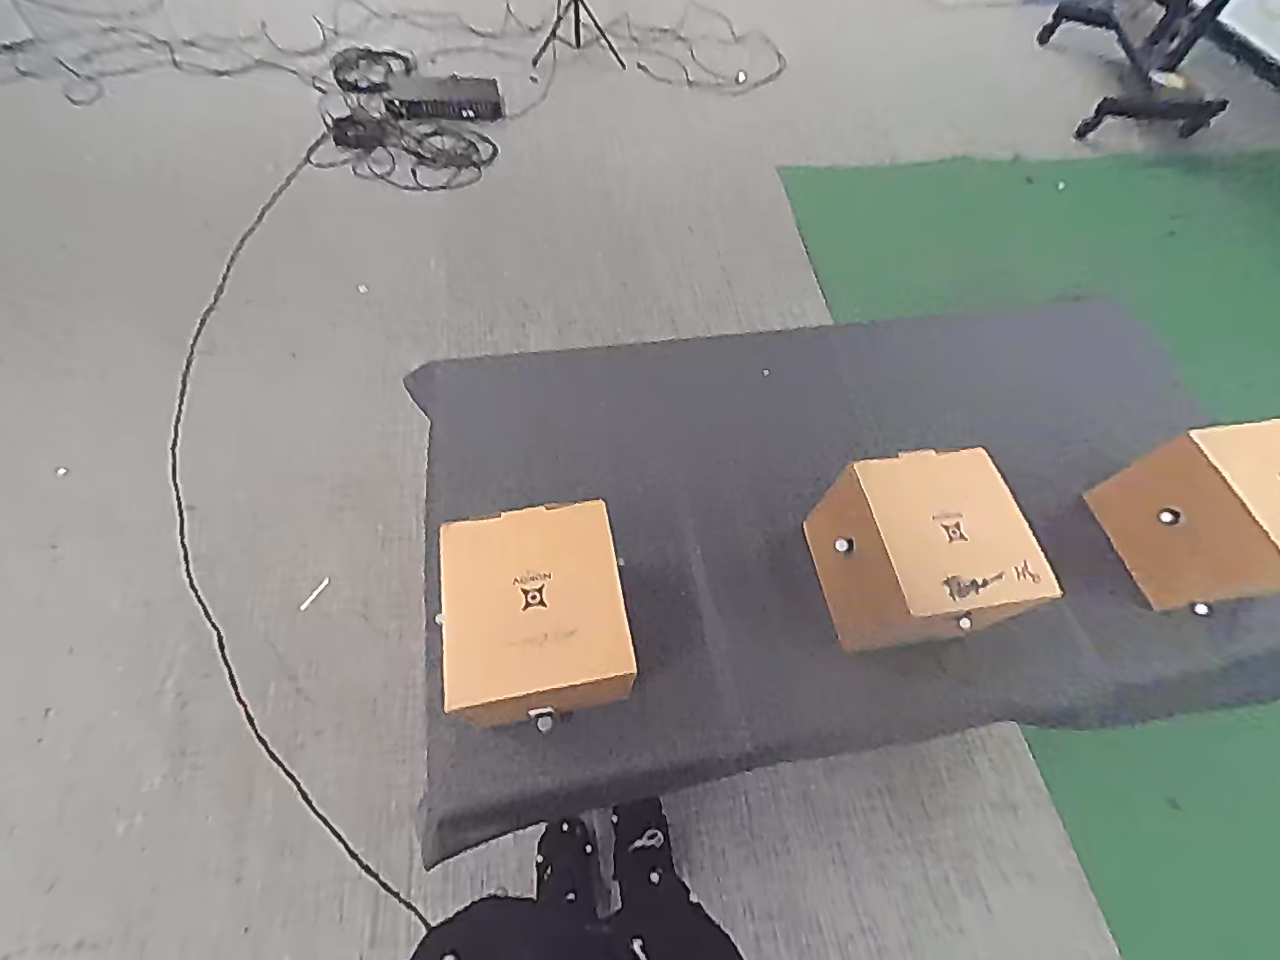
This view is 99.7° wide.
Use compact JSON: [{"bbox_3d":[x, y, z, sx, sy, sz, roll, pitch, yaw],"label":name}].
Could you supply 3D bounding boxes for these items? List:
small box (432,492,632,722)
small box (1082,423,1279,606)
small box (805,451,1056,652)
[{"bbox_3d":[-0.104,0.134,0.553,0.168,0.176,0.179,-7,61,-6],"label":"small box"},{"bbox_3d":[0.732,0.051,0.685,0.168,0.176,0.179,-6,61,-7],"label":"small box"},{"bbox_3d":[0.316,0.088,0.635,0.168,0.176,0.179,-6,61,-7],"label":"small box"}]
